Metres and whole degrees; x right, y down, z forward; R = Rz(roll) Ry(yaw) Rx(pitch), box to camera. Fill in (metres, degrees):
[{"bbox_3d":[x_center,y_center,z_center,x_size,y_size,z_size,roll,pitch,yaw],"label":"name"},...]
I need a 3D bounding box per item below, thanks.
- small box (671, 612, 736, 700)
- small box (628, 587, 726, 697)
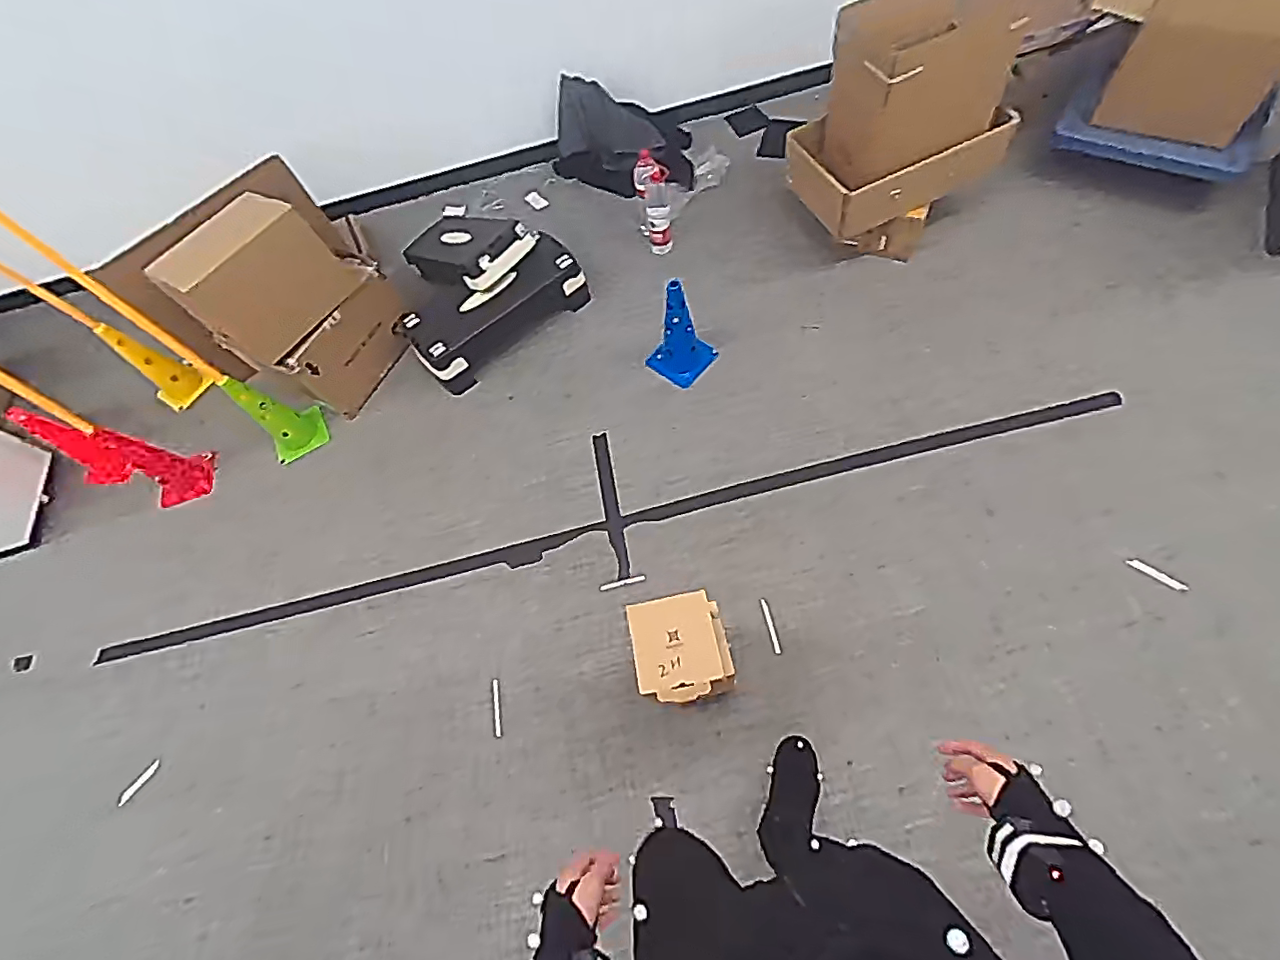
[{"bbox_3d":[0.148,0.468,1.416,0.168,0.176,0.179,-17,63,1],"label":"small box"},{"bbox_3d":[0.077,0.339,1.119,0.168,0.176,0.179,-12,64,3],"label":"small box"}]
